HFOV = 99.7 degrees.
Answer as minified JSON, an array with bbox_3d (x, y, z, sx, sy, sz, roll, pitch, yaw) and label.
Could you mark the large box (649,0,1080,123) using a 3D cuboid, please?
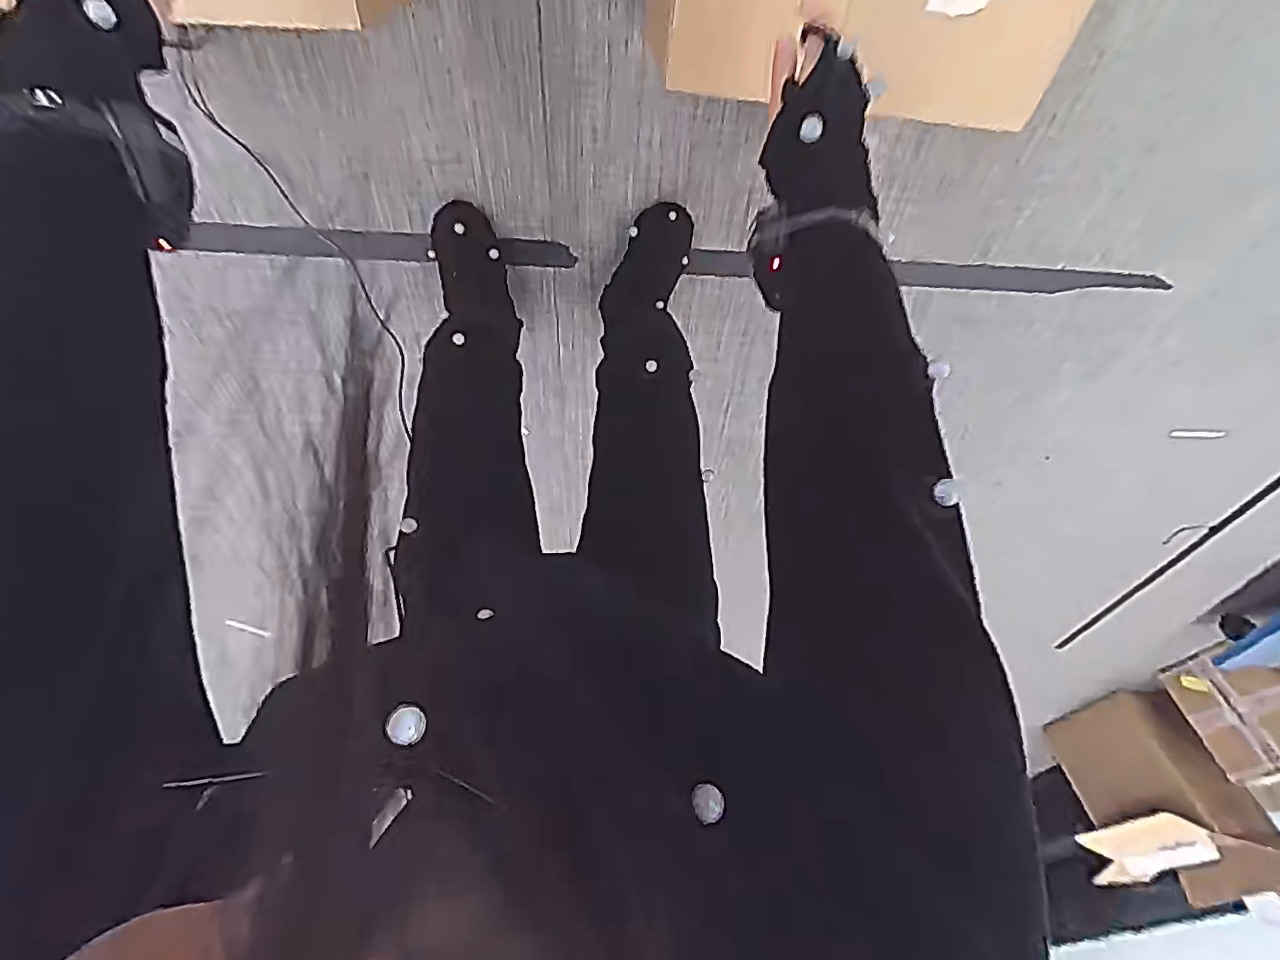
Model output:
[{"bbox_3d":[0.233,-0.619,0.582,0.408,0.320,0.320,2,136,-8],"label":"large box"}]
